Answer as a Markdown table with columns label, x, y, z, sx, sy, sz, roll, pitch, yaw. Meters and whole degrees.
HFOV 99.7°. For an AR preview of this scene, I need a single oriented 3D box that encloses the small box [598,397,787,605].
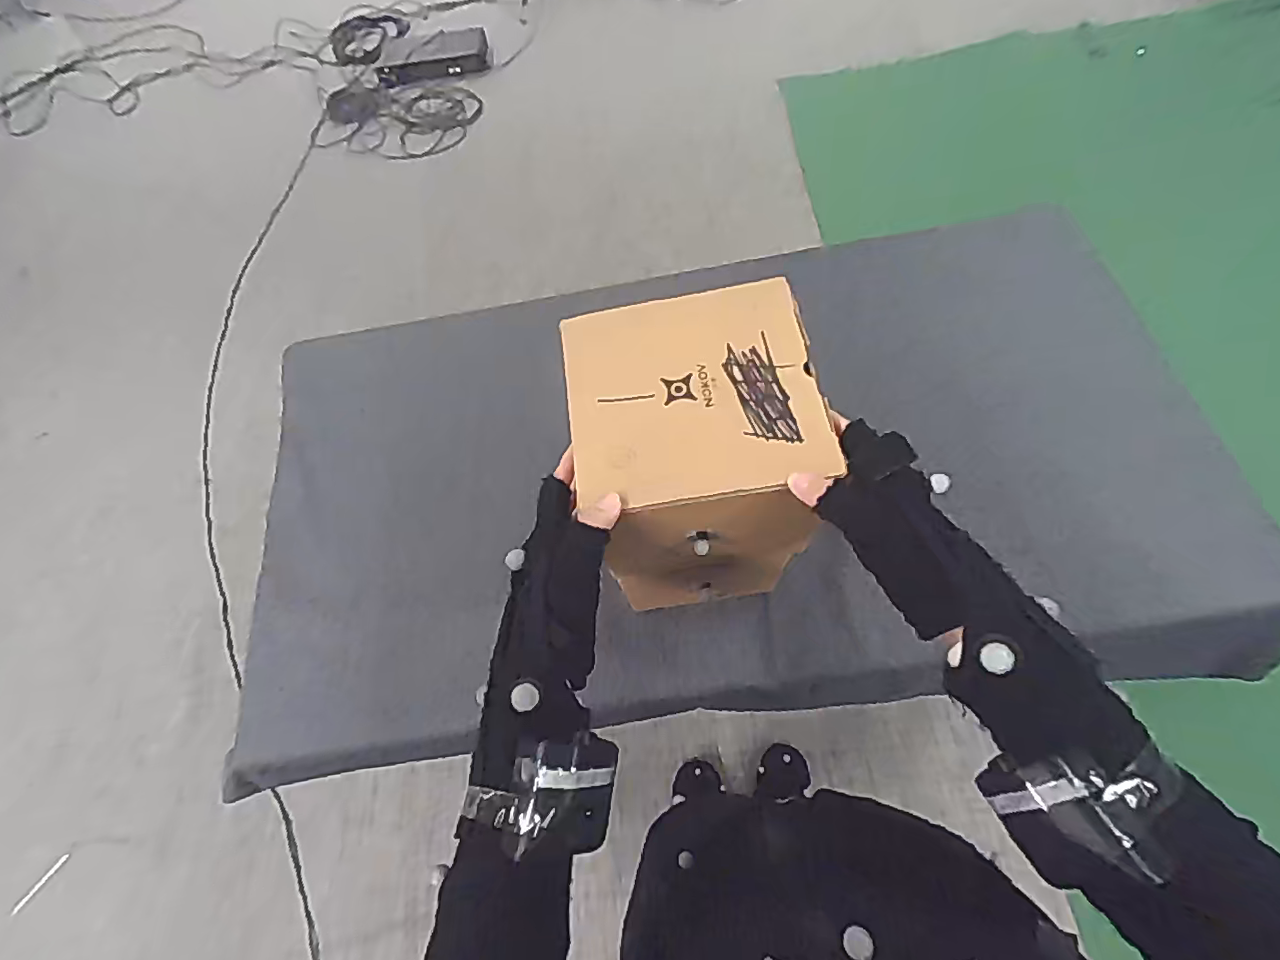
| label | x | y | z | sx | sy | sz | roll | pitch | yaw |
| --- | --- | --- | --- | --- | --- | --- | --- | --- | --- |
| small box | 0.055 | 0.036 | 0.603 | 0.168 | 0.176 | 0.179 | -9 | 66 | 2 |
